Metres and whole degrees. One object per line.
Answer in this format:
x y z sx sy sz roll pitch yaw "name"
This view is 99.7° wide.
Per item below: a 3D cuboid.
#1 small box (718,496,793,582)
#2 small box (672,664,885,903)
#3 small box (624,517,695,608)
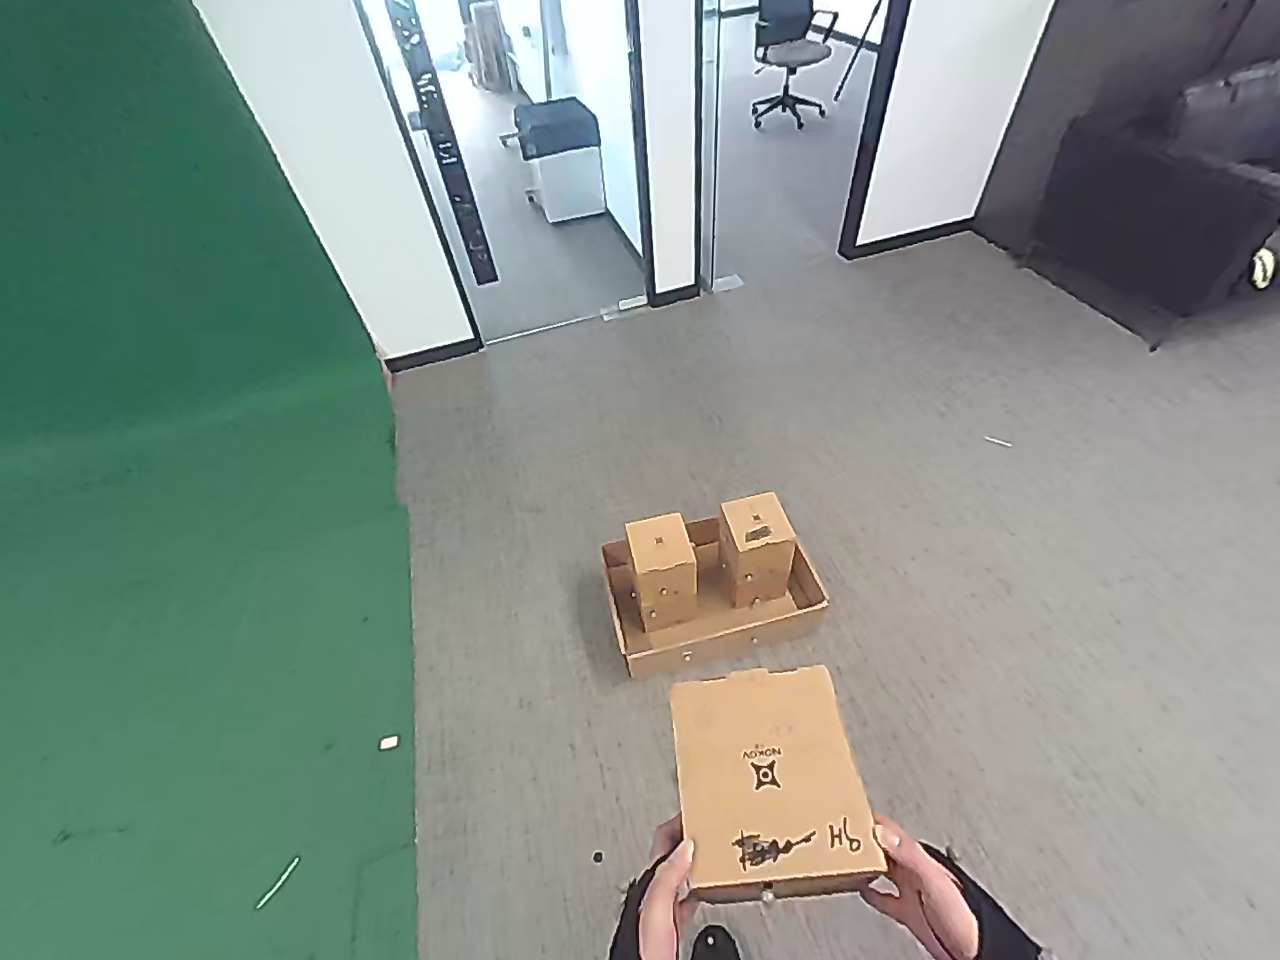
0.330 0.178 1.568 0.168 0.176 0.179 -12 47 -4 "small box"
0.126 0.314 0.557 0.168 0.176 0.179 -8 48 5 "small box"
0.053 0.237 1.543 0.168 0.176 0.179 -11 48 -6 "small box"
